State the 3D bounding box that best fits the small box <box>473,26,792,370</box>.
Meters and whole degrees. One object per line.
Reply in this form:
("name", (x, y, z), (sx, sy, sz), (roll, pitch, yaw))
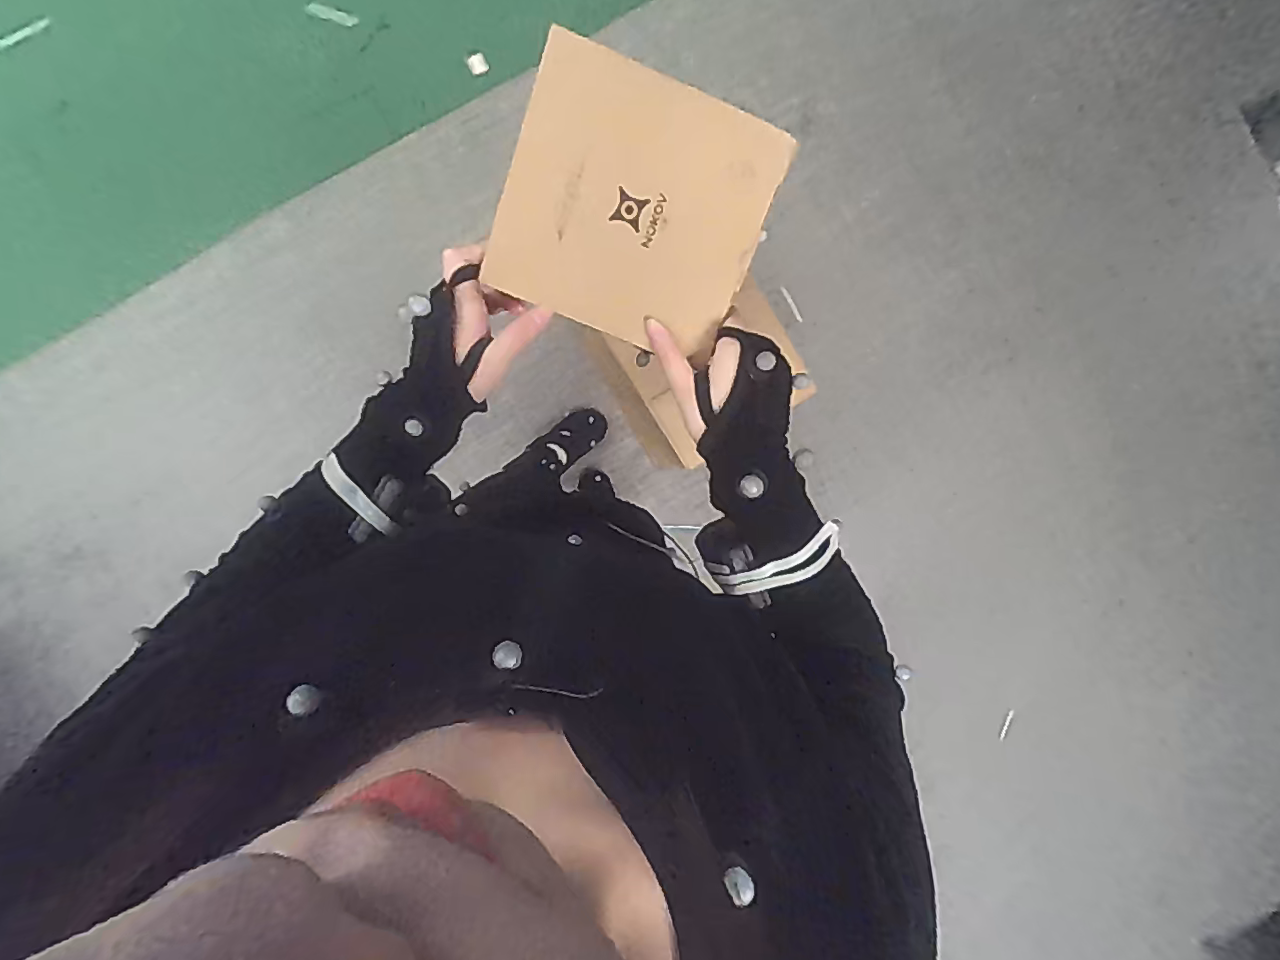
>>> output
("small box", (-0.009, -0.206, 0.445), (0.179, 0.176, 0.168), (21, 104, -7))
